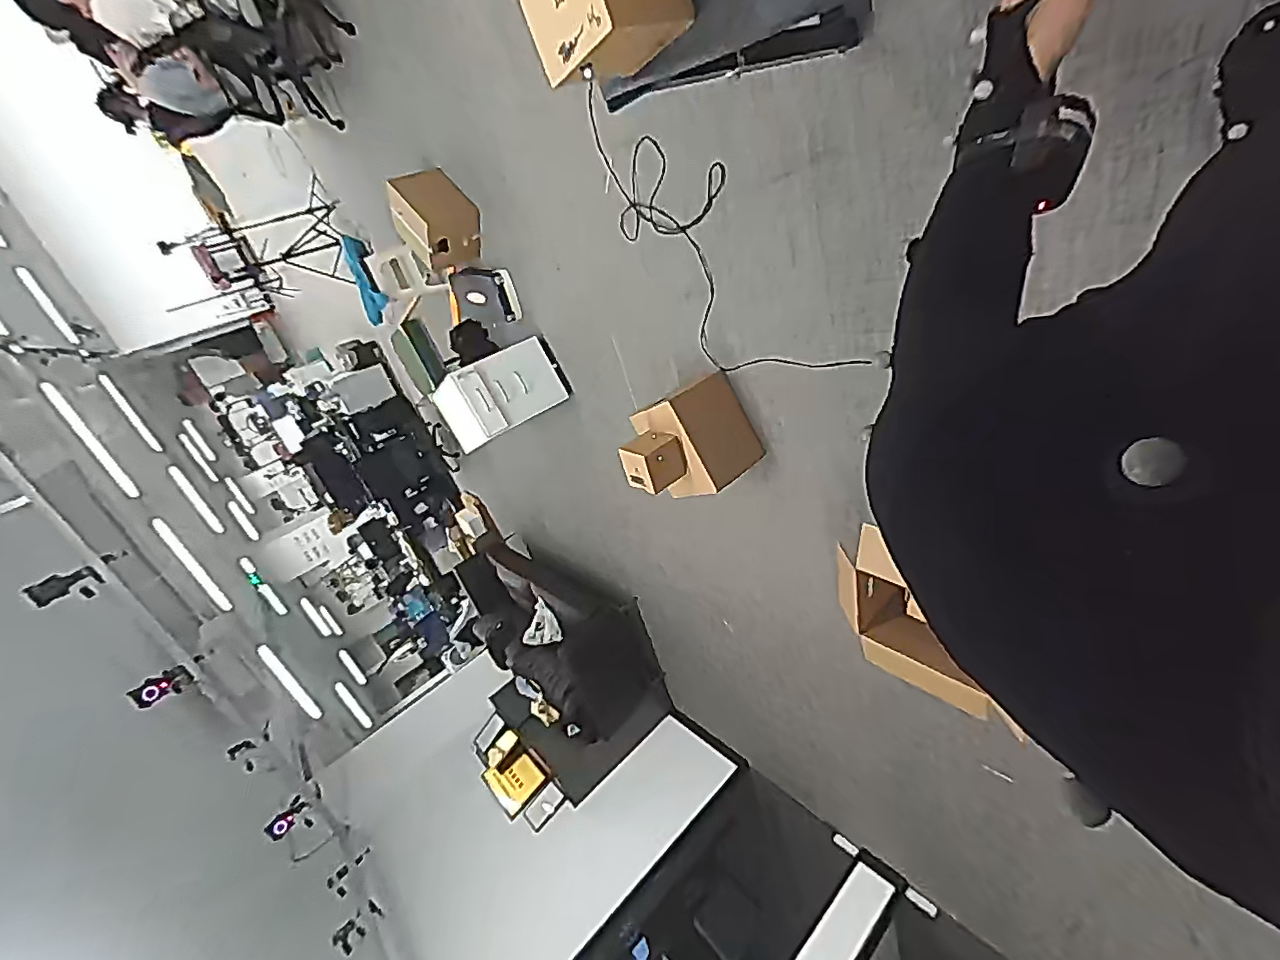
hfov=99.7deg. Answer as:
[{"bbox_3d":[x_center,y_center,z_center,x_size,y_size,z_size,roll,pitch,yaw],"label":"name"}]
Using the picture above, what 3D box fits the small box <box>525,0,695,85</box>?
[{"bbox_3d":[-0.050,-0.710,0.777,0.168,0.176,0.179,9,127,53],"label":"small box"}]
